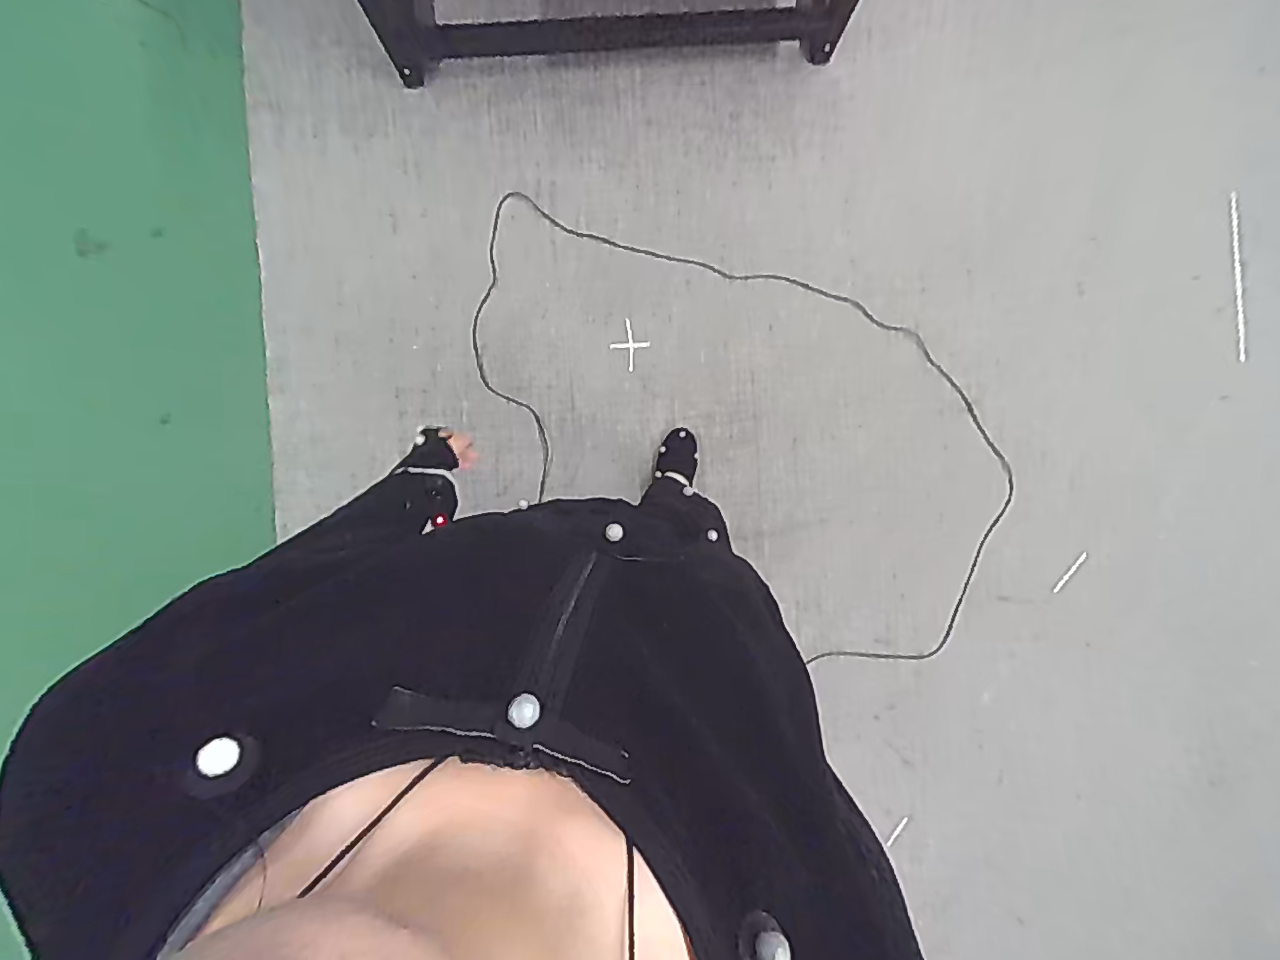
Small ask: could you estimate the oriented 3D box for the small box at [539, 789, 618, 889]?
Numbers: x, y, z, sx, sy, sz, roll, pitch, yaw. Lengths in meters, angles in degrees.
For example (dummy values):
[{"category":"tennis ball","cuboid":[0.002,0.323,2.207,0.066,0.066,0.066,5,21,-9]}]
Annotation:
[{"category":"small box","cuboid":[-0.151,0.921,1.384,0.179,0.176,0.168,-9,89,1]}]
